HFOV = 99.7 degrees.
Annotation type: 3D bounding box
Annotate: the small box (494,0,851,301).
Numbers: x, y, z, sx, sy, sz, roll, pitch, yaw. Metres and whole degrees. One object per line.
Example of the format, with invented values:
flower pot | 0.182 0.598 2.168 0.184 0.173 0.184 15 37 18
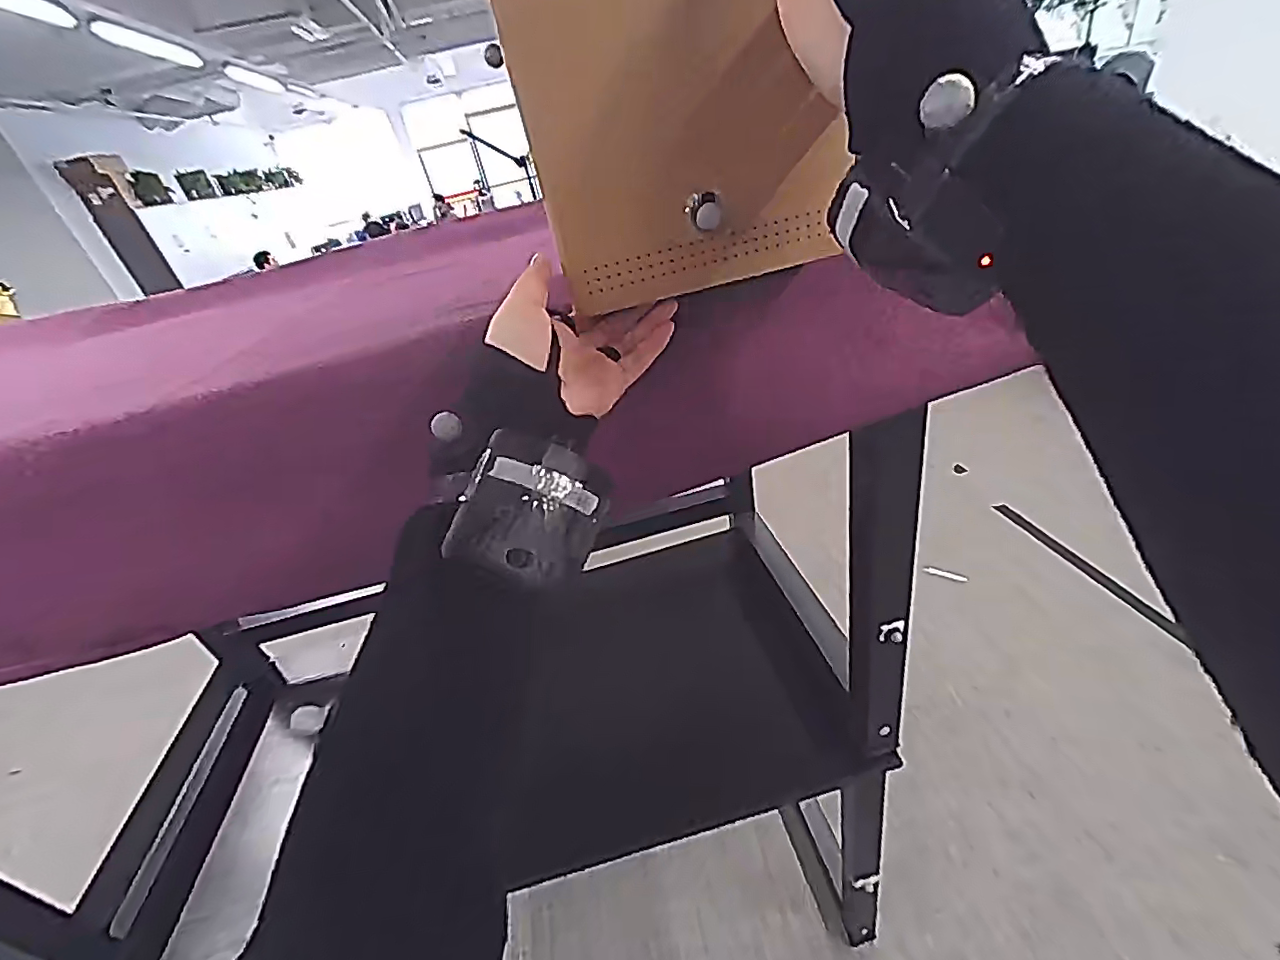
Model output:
small box | 0.019 -0.232 0.347 0.179 0.176 0.168 -14 31 0
